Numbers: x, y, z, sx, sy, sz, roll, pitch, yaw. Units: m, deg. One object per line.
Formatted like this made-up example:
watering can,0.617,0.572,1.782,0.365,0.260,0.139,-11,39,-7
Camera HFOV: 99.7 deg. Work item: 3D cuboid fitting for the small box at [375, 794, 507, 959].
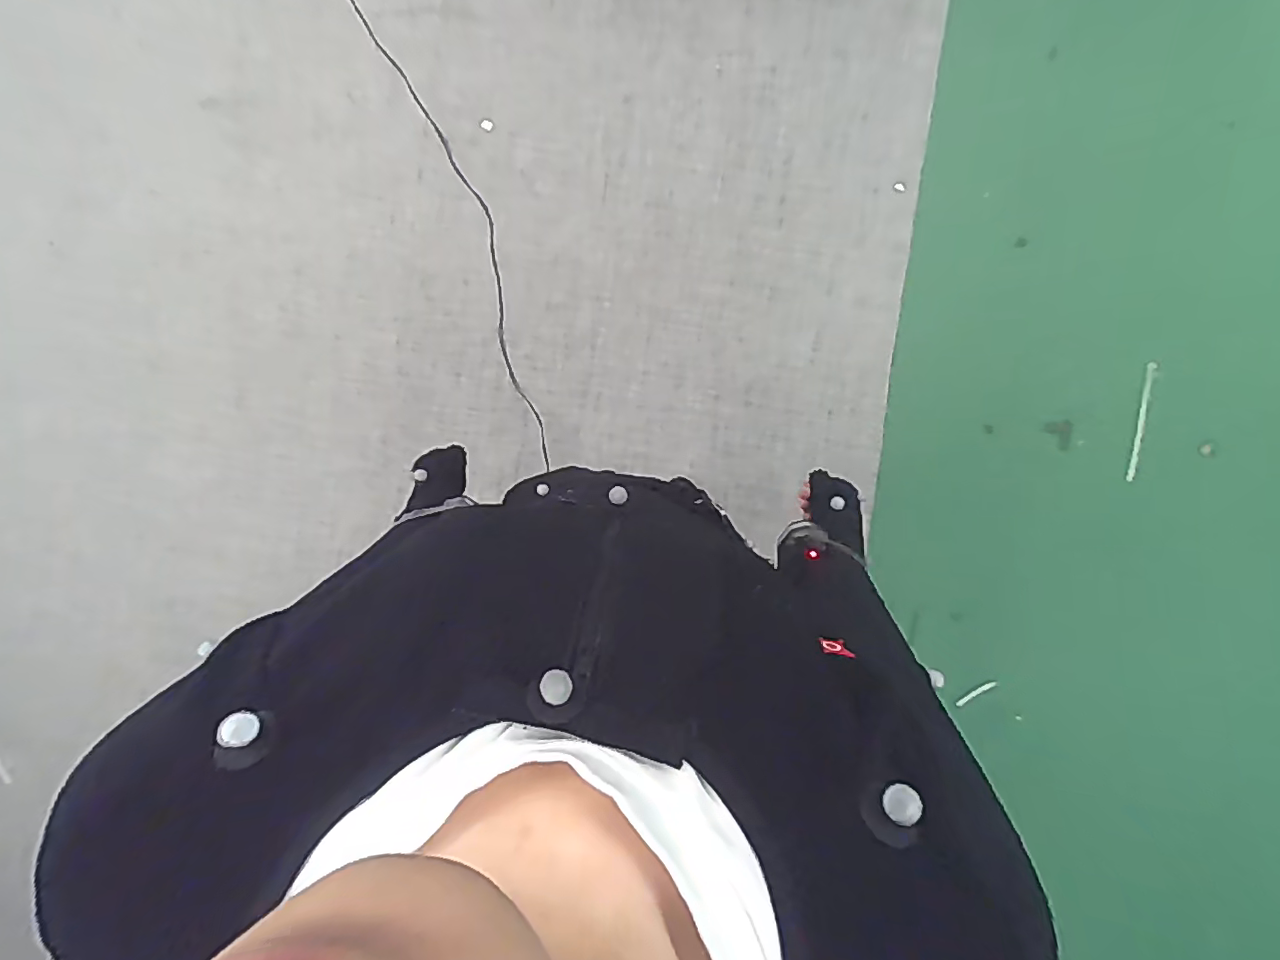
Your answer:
small box,-0.357,0.723,1.000,0.168,0.176,0.179,10,94,4
